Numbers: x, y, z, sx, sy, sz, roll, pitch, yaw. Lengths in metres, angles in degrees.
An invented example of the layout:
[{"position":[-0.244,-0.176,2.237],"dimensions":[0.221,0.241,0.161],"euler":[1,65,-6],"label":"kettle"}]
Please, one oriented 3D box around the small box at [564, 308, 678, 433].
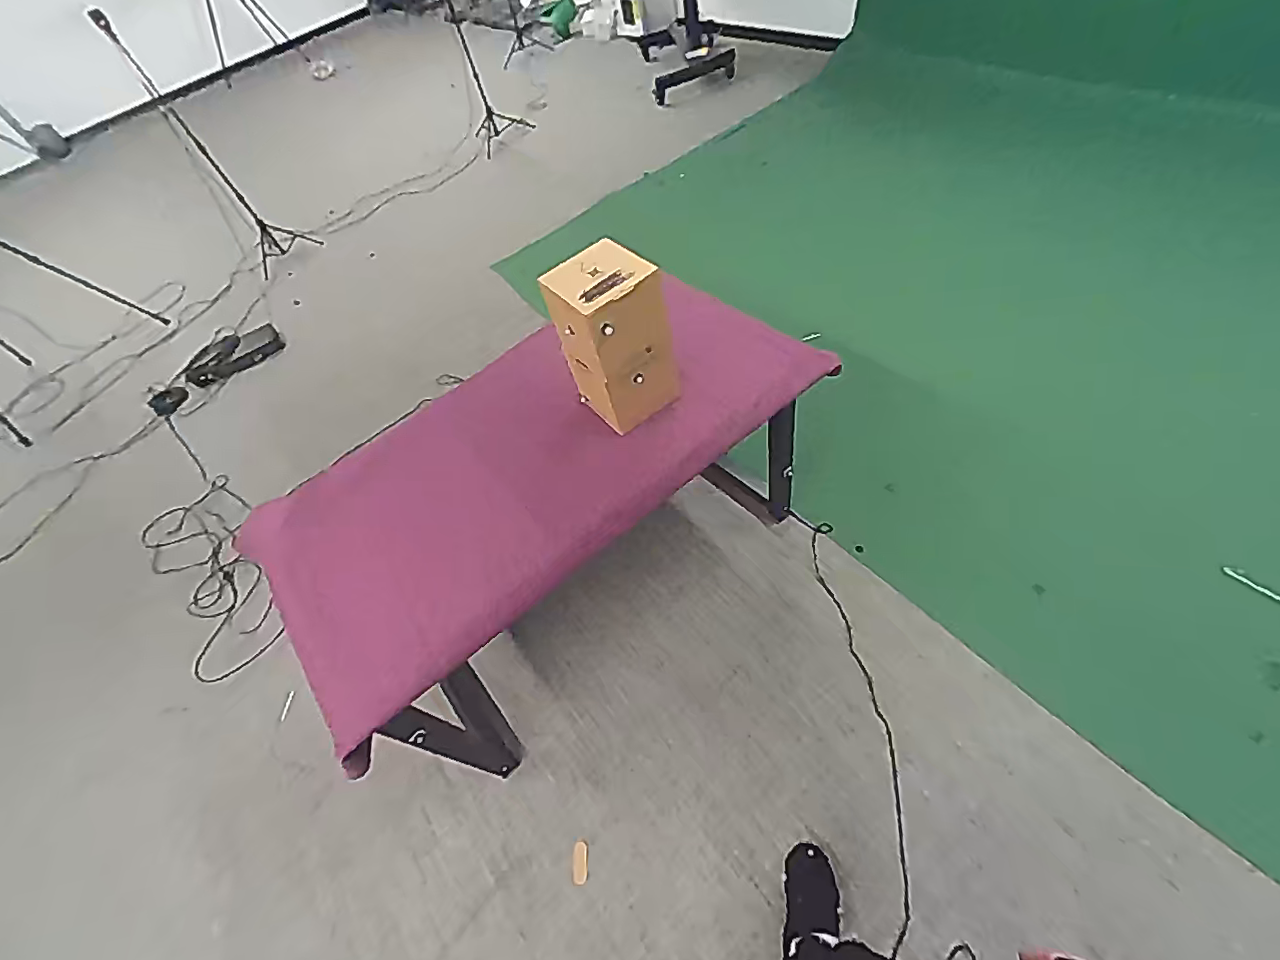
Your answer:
[{"position":[-0.035,-0.236,1.187],"dimensions":[0.179,0.176,0.168],"euler":[-36,55,-14],"label":"small box"}]
